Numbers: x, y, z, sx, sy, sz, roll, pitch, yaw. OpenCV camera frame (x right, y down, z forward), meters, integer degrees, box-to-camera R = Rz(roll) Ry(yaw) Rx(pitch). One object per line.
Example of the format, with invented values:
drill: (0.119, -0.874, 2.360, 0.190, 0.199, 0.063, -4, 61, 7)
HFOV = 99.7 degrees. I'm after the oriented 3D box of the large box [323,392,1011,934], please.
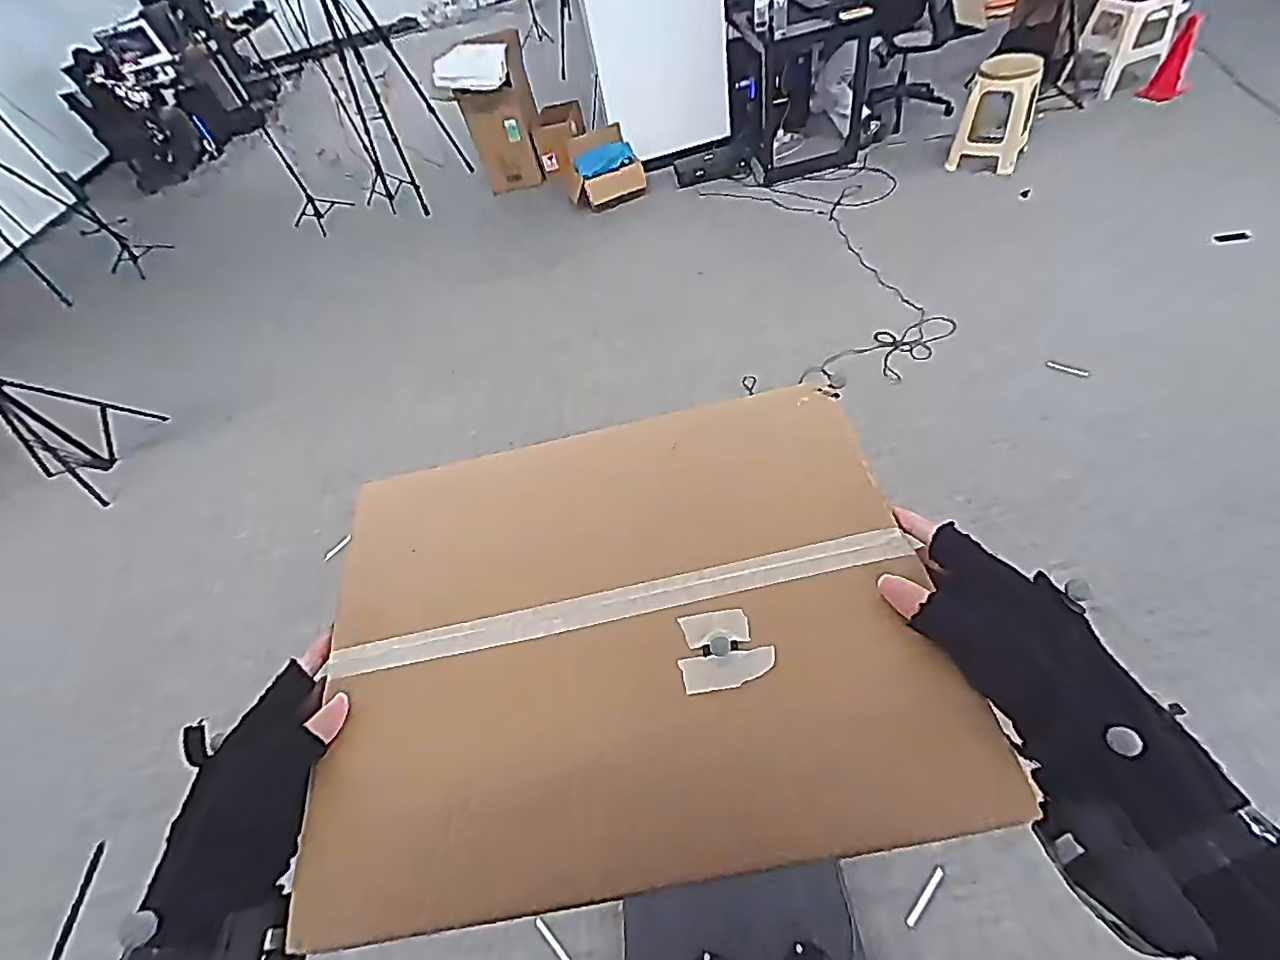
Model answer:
large box: (0.009, 0.172, 0.505, 0.408, 0.320, 0.320, -12, 56, 3)
